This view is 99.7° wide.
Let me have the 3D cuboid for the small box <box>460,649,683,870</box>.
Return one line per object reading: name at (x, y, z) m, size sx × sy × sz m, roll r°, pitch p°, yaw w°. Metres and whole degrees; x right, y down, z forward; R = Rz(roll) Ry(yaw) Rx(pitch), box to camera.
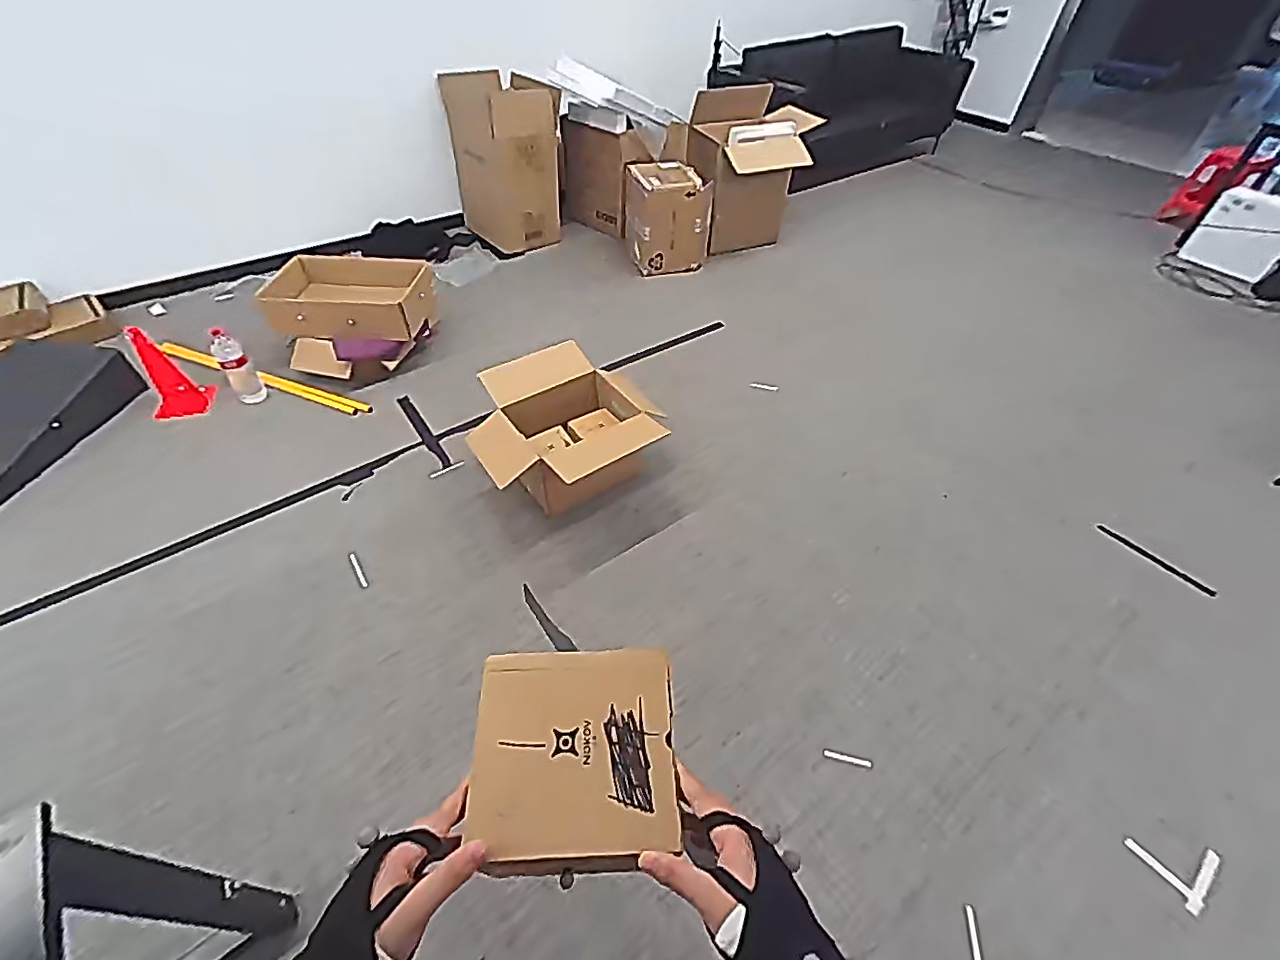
small box at (-0.059, 0.277, 0.533) m, size 0.179 × 0.176 × 0.168 m, roll -1°, pitch 51°, yaw -3°
